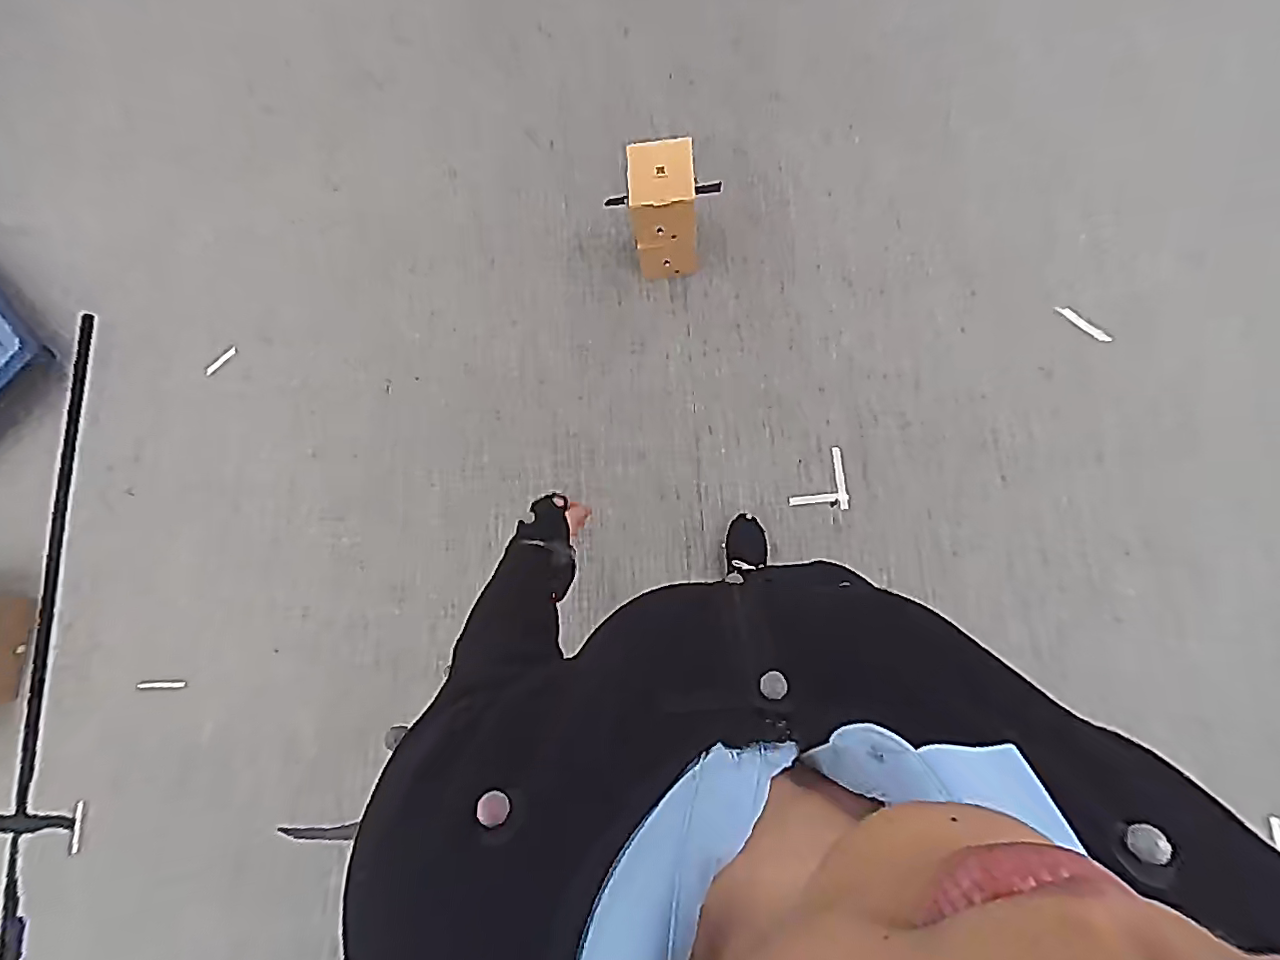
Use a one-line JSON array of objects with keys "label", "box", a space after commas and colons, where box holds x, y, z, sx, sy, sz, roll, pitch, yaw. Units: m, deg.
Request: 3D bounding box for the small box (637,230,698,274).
[{"label": "small box", "box": [0.079, -0.718, 1.572, 0.168, 0.176, 0.179, -6, 80, 5]}]

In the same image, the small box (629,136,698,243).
[{"label": "small box", "box": [0.064, -0.754, 1.414, 0.168, 0.176, 0.179, -4, 81, 6]}]
